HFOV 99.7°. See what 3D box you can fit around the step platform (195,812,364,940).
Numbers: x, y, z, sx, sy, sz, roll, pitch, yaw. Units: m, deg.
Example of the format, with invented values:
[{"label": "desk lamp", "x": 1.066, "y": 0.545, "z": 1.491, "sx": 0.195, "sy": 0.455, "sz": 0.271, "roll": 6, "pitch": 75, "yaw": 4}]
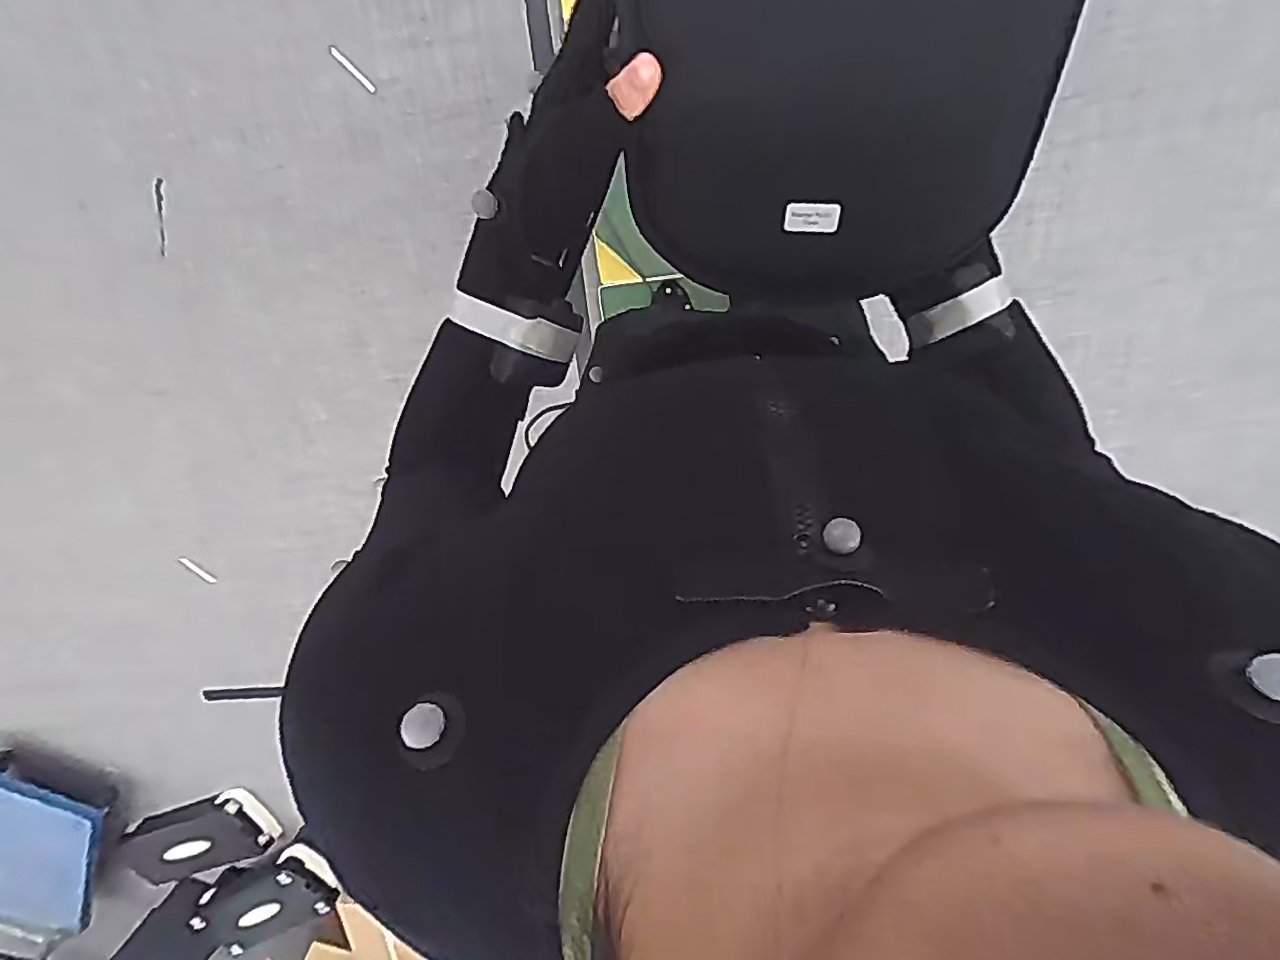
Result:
[{"label": "step platform", "x": -1.510, "y": 1.663, "z": 2.263, "sx": 0.684, "sy": 0.204, "sz": 0.286, "roll": -33, "pitch": 106, "yaw": 15}]
